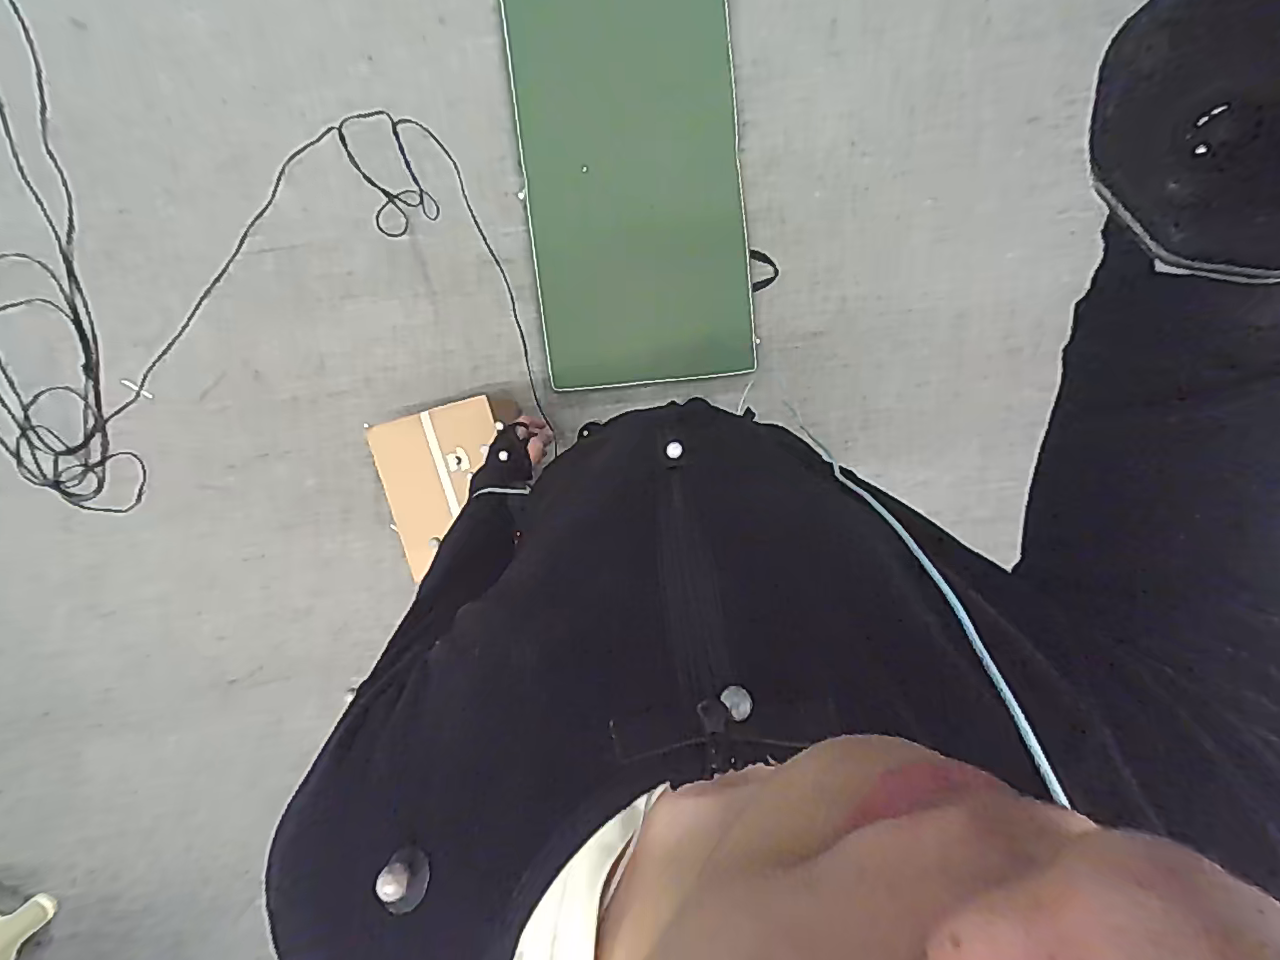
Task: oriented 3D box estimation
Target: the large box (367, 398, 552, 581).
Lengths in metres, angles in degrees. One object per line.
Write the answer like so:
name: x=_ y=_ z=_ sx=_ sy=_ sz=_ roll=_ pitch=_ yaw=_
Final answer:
large box: x=-0.468 y=0.013 z=1.486 sx=0.320 sy=0.320 sz=0.408 roll=-16 pitch=96 yaw=1
